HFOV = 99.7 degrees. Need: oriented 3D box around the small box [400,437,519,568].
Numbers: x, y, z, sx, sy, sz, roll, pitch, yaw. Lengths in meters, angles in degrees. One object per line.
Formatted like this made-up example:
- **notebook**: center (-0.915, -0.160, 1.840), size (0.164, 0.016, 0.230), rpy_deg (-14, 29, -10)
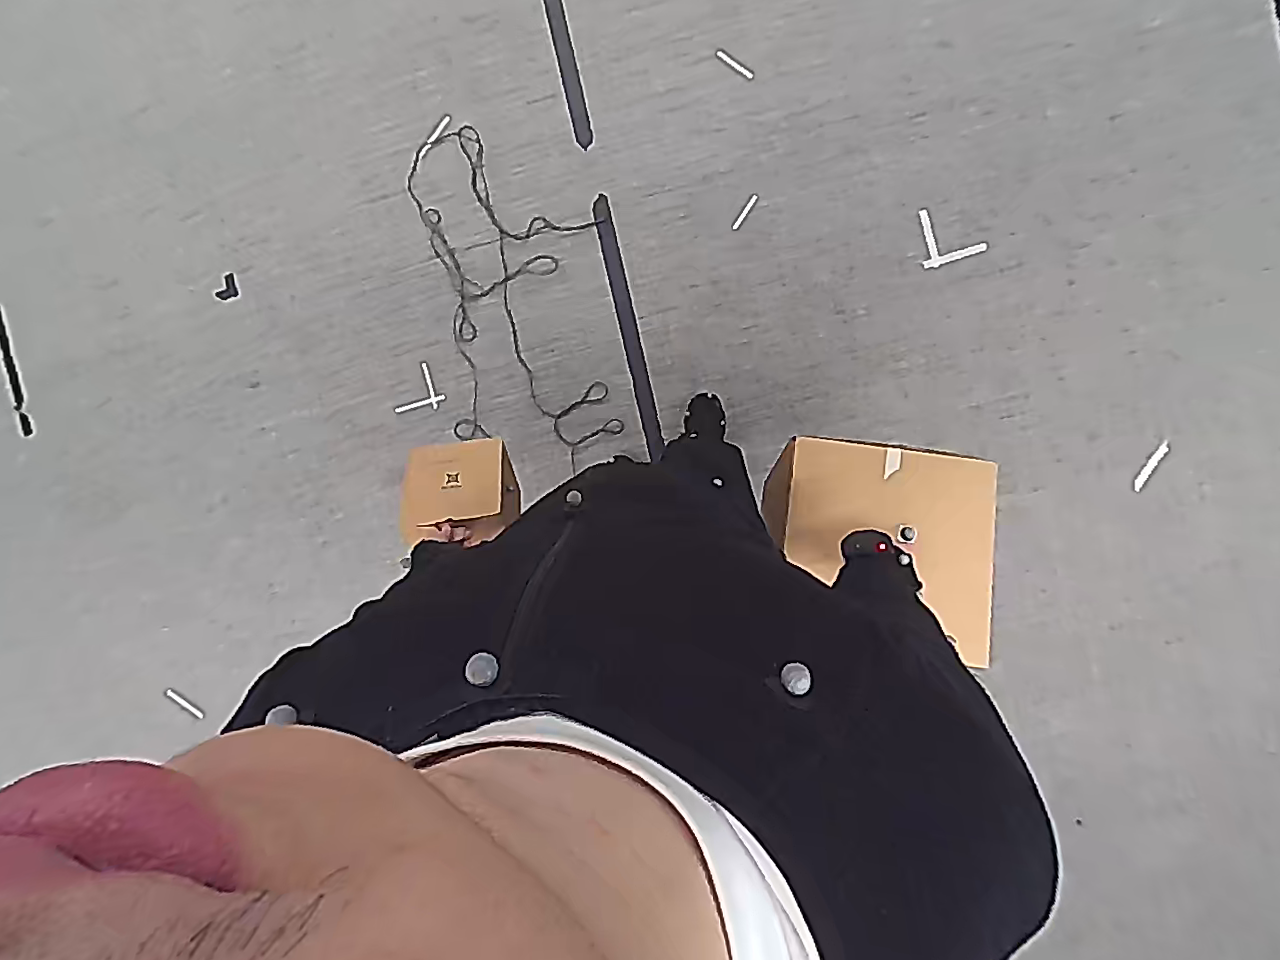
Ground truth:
- **small box**: center (-0.318, 0.048, 0.989), size (0.168, 0.176, 0.179), rpy_deg (-7, 53, -5)
